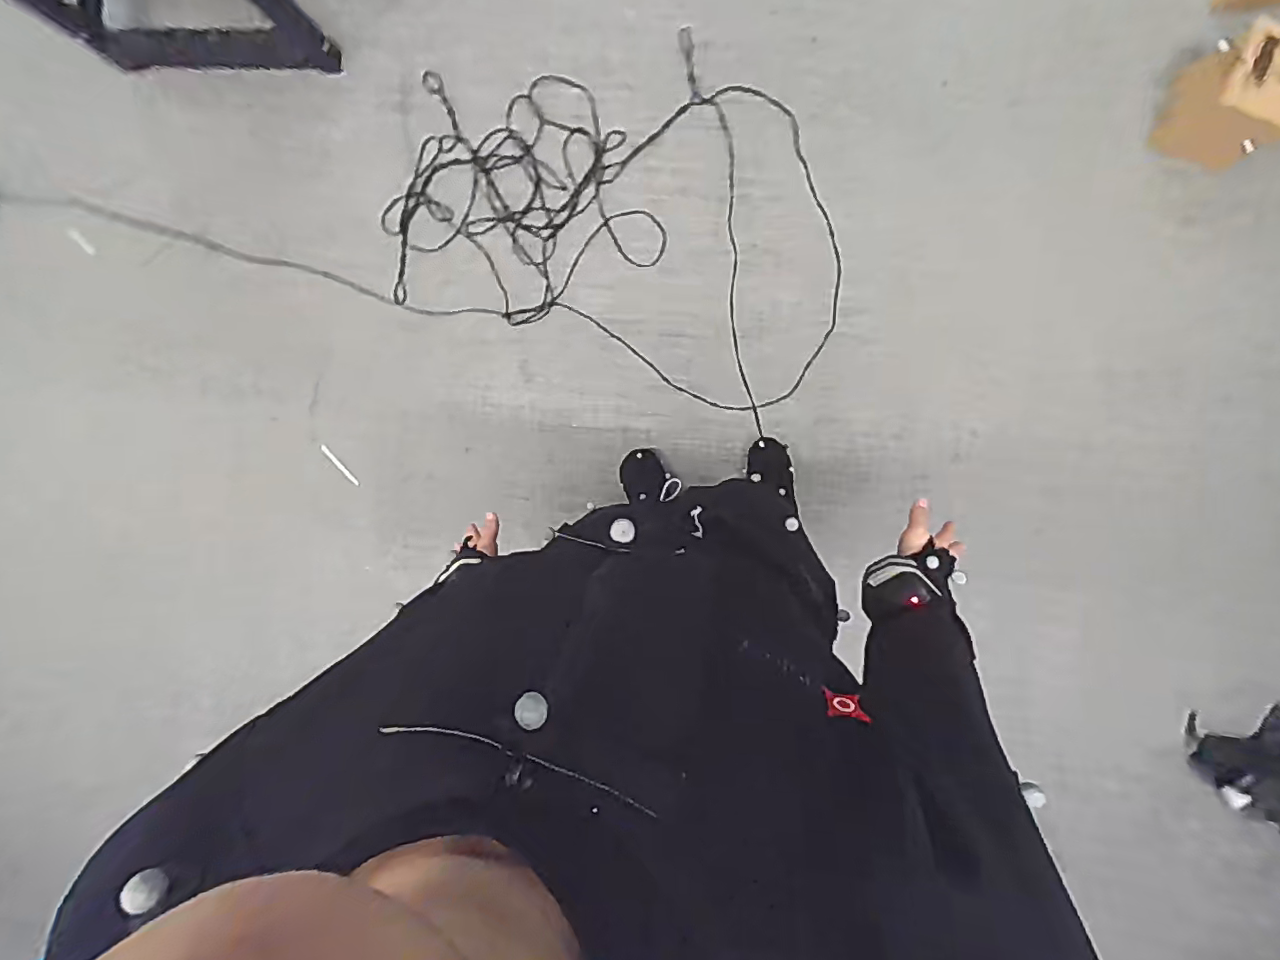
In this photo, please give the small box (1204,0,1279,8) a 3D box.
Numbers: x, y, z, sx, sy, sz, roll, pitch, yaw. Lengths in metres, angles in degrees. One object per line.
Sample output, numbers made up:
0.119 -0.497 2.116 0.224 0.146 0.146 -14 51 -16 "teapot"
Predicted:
1.307 -1.097 1.082 0.179 0.176 0.168 -2 96 4 "small box"
